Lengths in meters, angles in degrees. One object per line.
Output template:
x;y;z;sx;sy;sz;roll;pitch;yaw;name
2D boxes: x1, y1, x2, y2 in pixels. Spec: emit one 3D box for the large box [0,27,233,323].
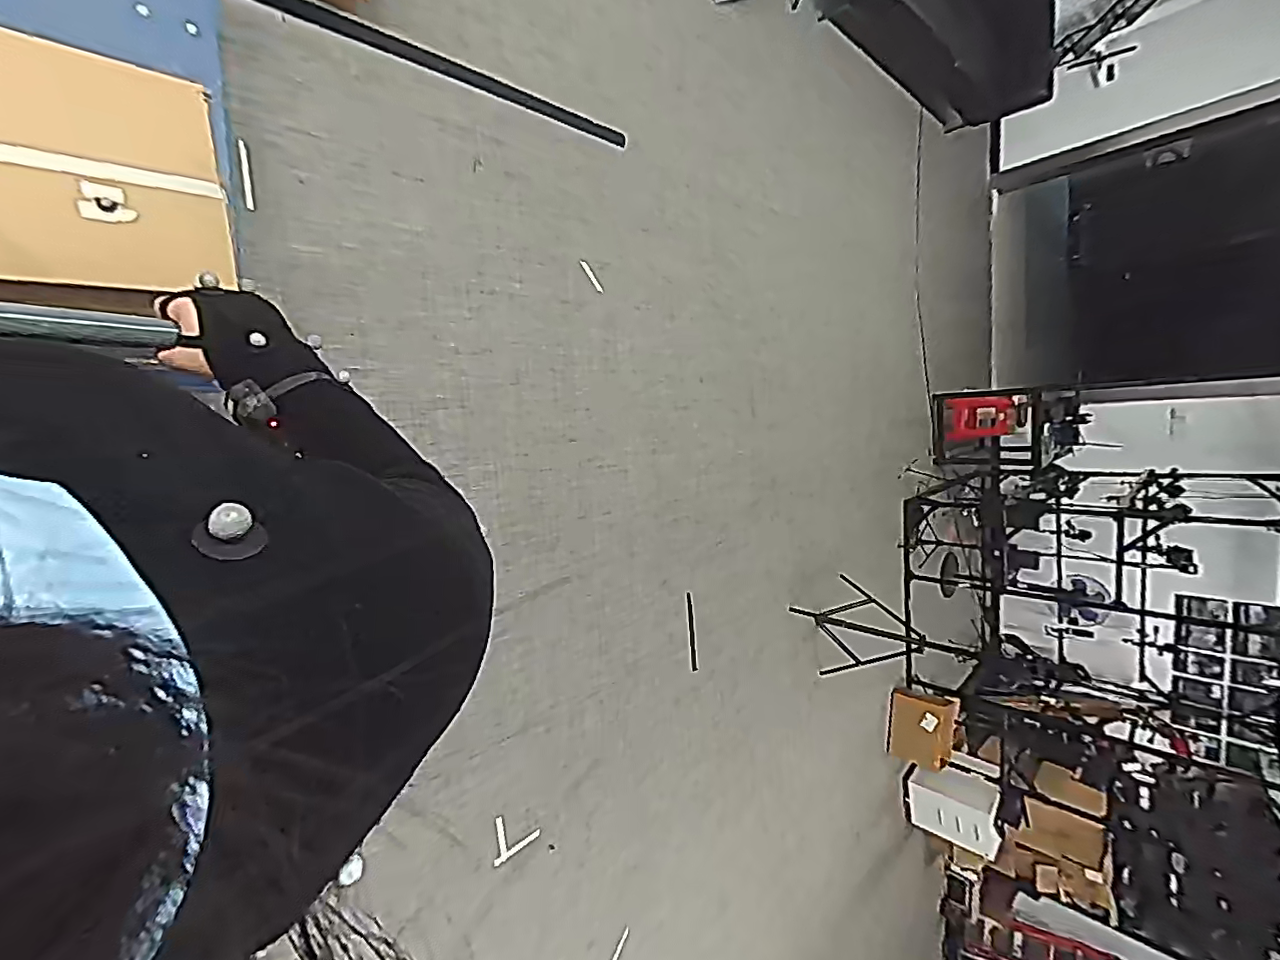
-0.903;-0.424;0.802;0.408;0.320;0.320;-12;100;-45;large box
